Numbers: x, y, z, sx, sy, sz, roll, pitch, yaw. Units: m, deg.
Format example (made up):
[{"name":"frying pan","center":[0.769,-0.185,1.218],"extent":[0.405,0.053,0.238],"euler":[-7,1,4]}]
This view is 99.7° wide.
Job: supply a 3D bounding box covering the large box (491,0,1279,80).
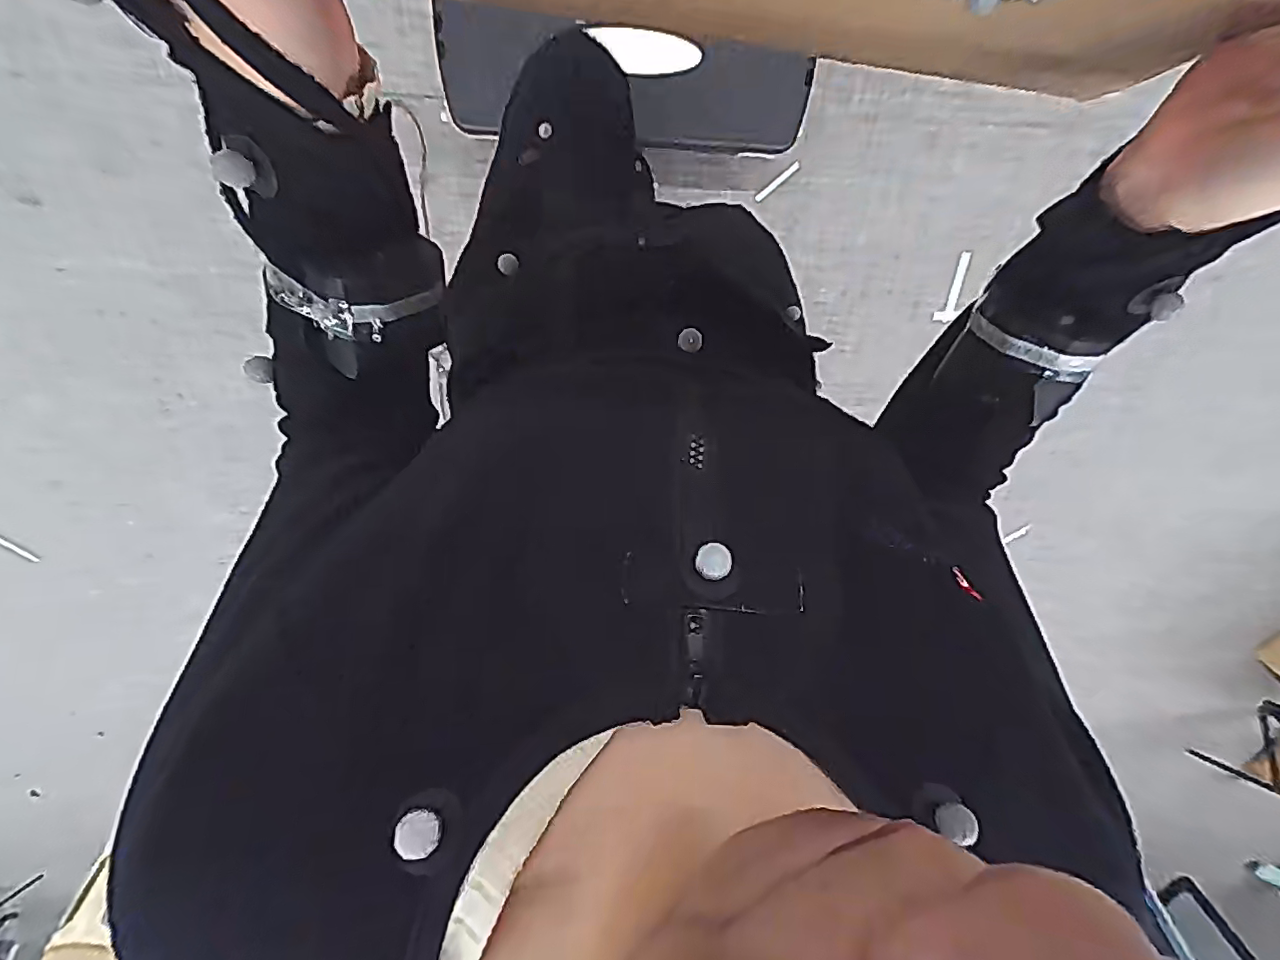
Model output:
[{"name":"large box","center":[0.076,-0.332,0.101],"extent":[0.408,0.320,0.320],"euler":[3,110,-6]}]
